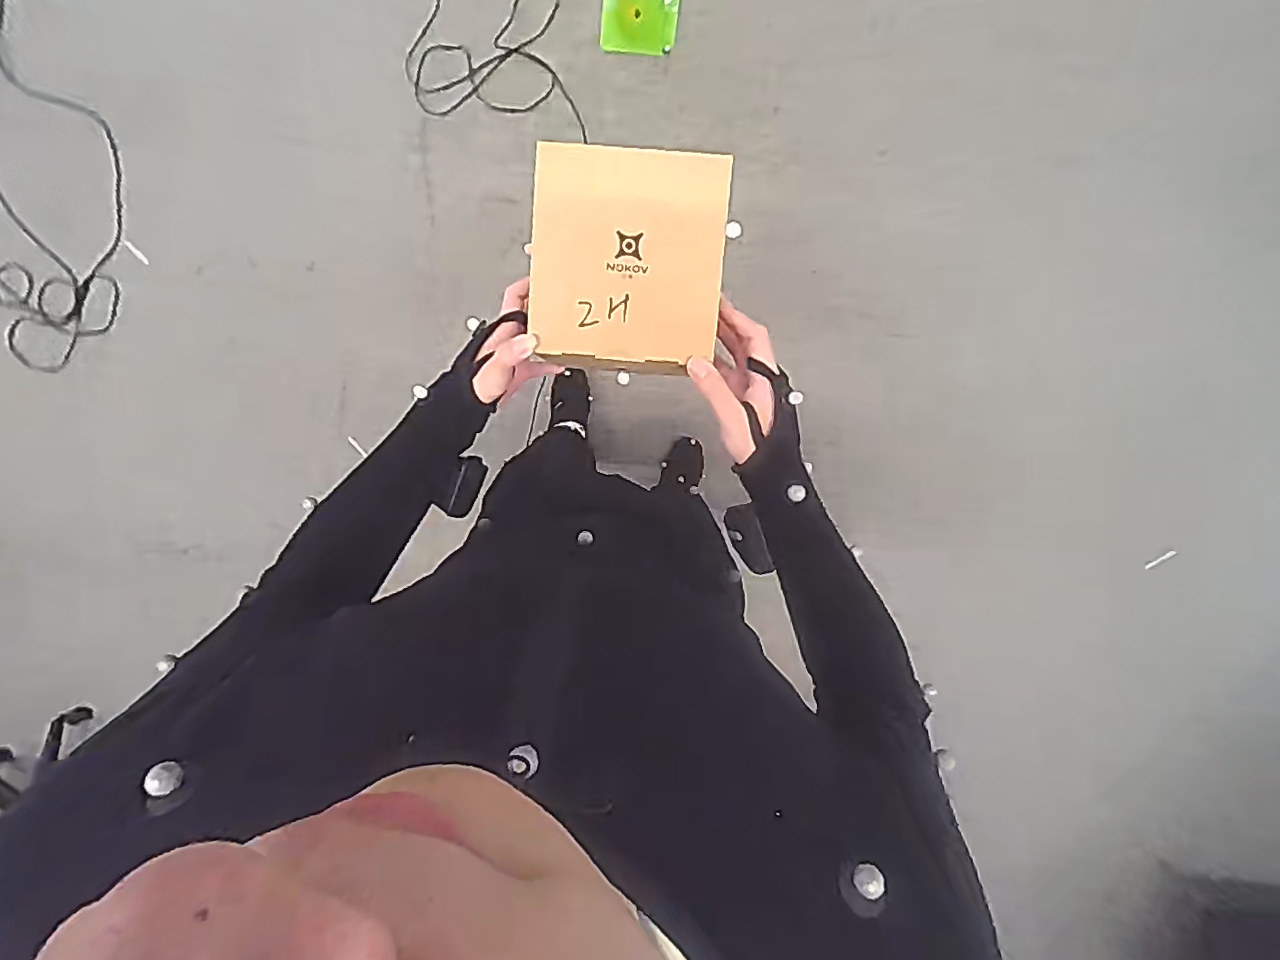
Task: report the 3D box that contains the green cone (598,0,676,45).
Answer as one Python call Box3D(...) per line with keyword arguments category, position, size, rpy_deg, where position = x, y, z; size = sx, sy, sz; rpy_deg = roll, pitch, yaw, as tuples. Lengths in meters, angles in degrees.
Box3D(category="green cone", position=(-0.016, -1.223, 1.236), size=(0.202, 0.368, 0.200), rpy_deg=(7, 98, 3))
